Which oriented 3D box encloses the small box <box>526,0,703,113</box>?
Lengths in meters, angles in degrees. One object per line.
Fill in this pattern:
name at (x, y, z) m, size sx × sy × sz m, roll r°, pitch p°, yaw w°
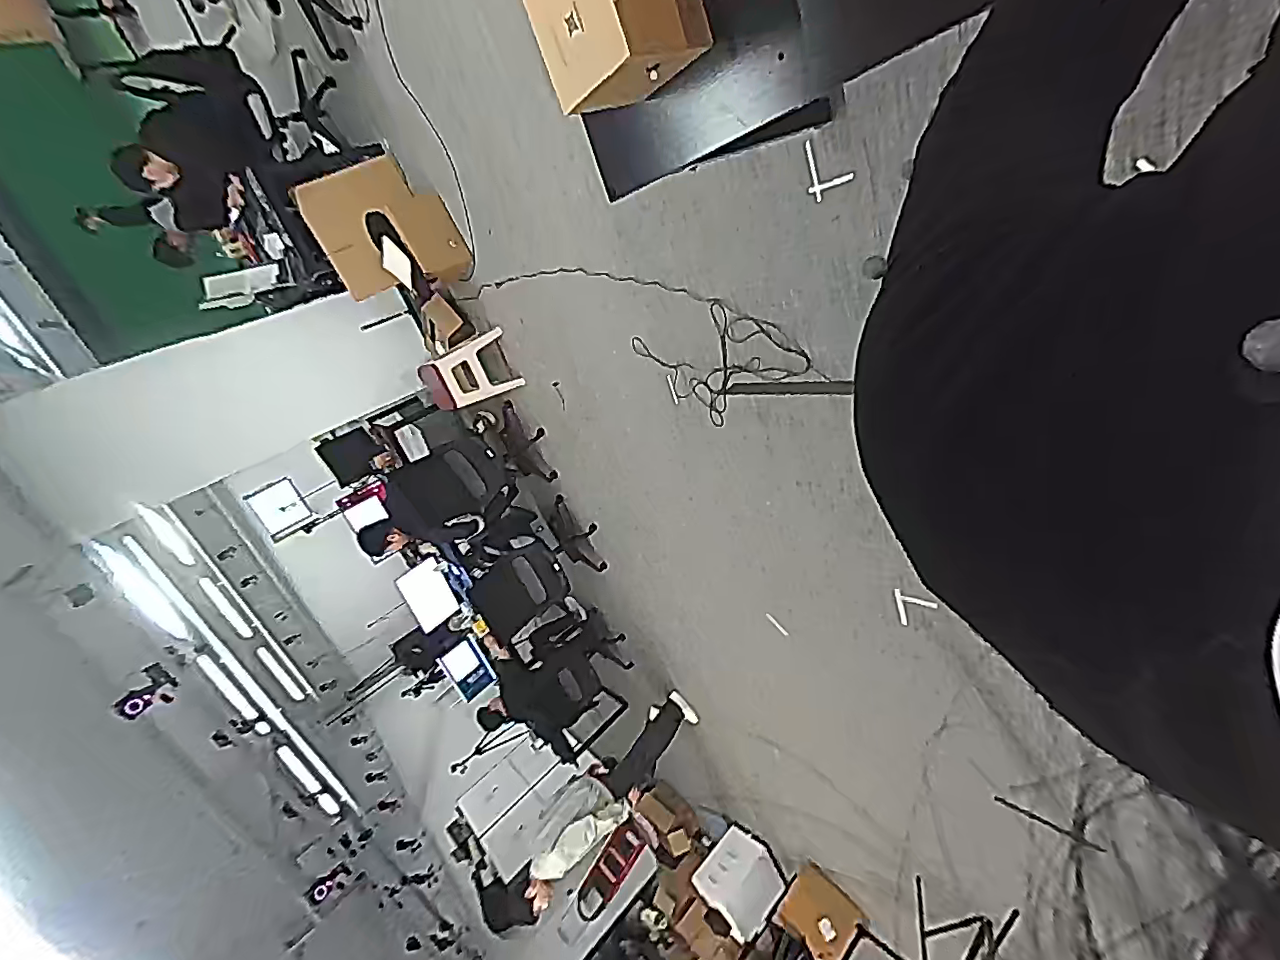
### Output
small box at (-0.031, -0.666, 0.775) m, size 0.179 × 0.176 × 0.168 m, roll 7°, pitch 124°, yaw 53°
